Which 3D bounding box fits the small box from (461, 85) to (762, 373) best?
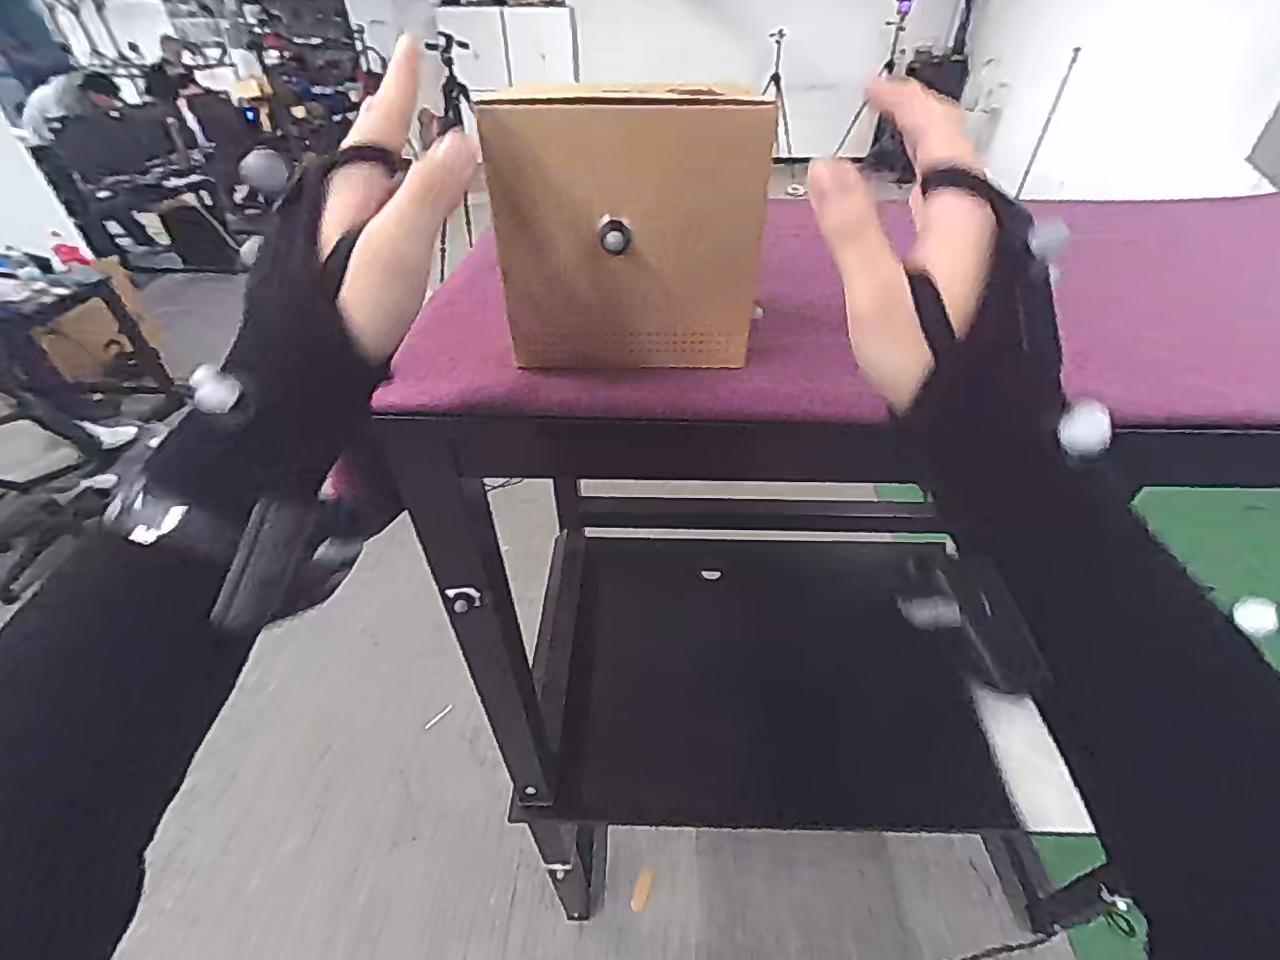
[{"bbox_3d":[-0.014,-0.194,0.420,0.179,0.176,0.168,-1,39,1],"label":"small box"}]
